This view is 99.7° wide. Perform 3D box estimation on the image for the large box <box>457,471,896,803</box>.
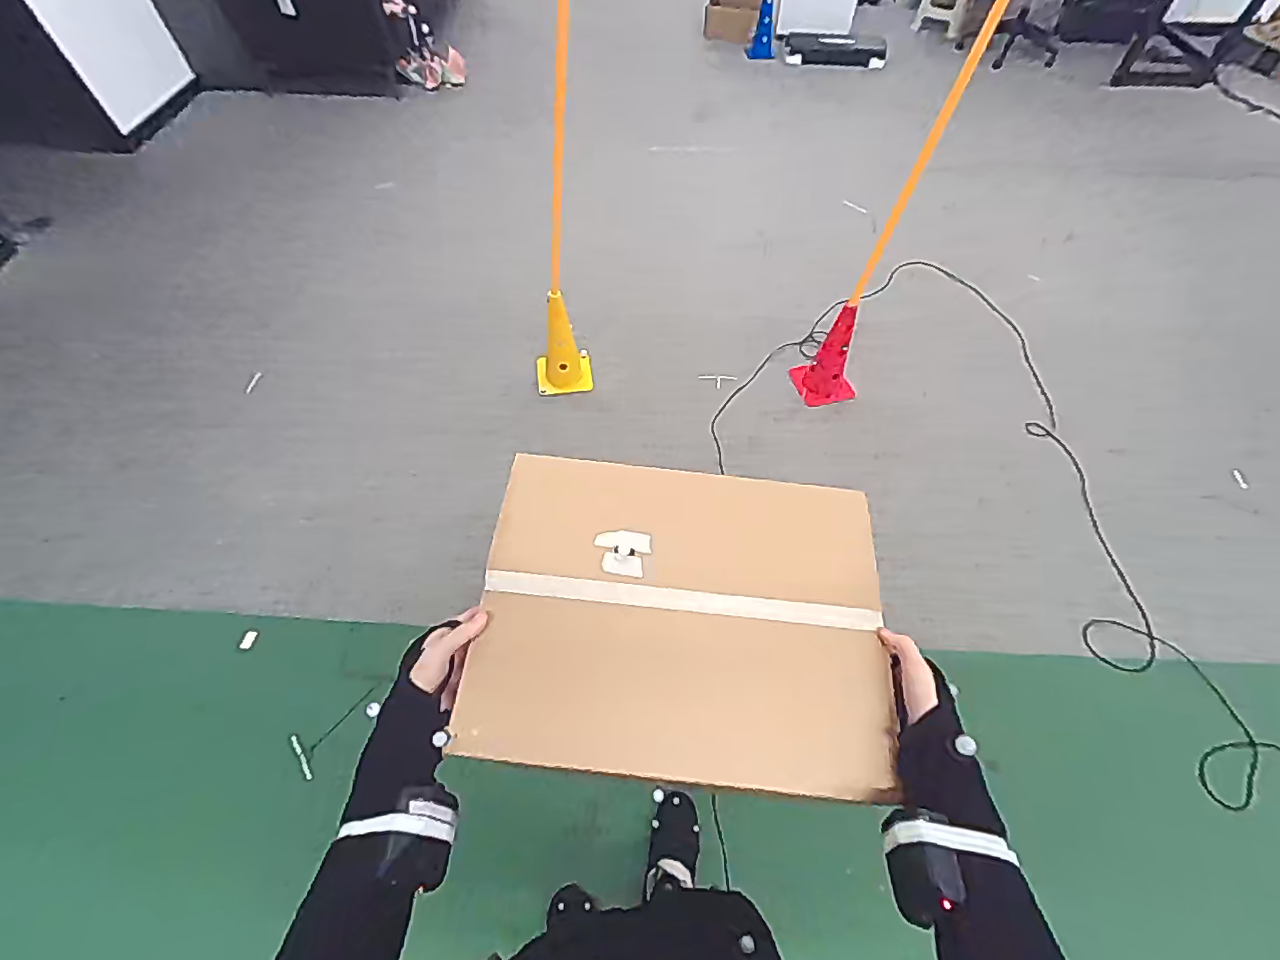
[{"bbox_3d":[0.041,0.211,0.685,0.408,0.320,0.320,6,59,1],"label":"large box"}]
